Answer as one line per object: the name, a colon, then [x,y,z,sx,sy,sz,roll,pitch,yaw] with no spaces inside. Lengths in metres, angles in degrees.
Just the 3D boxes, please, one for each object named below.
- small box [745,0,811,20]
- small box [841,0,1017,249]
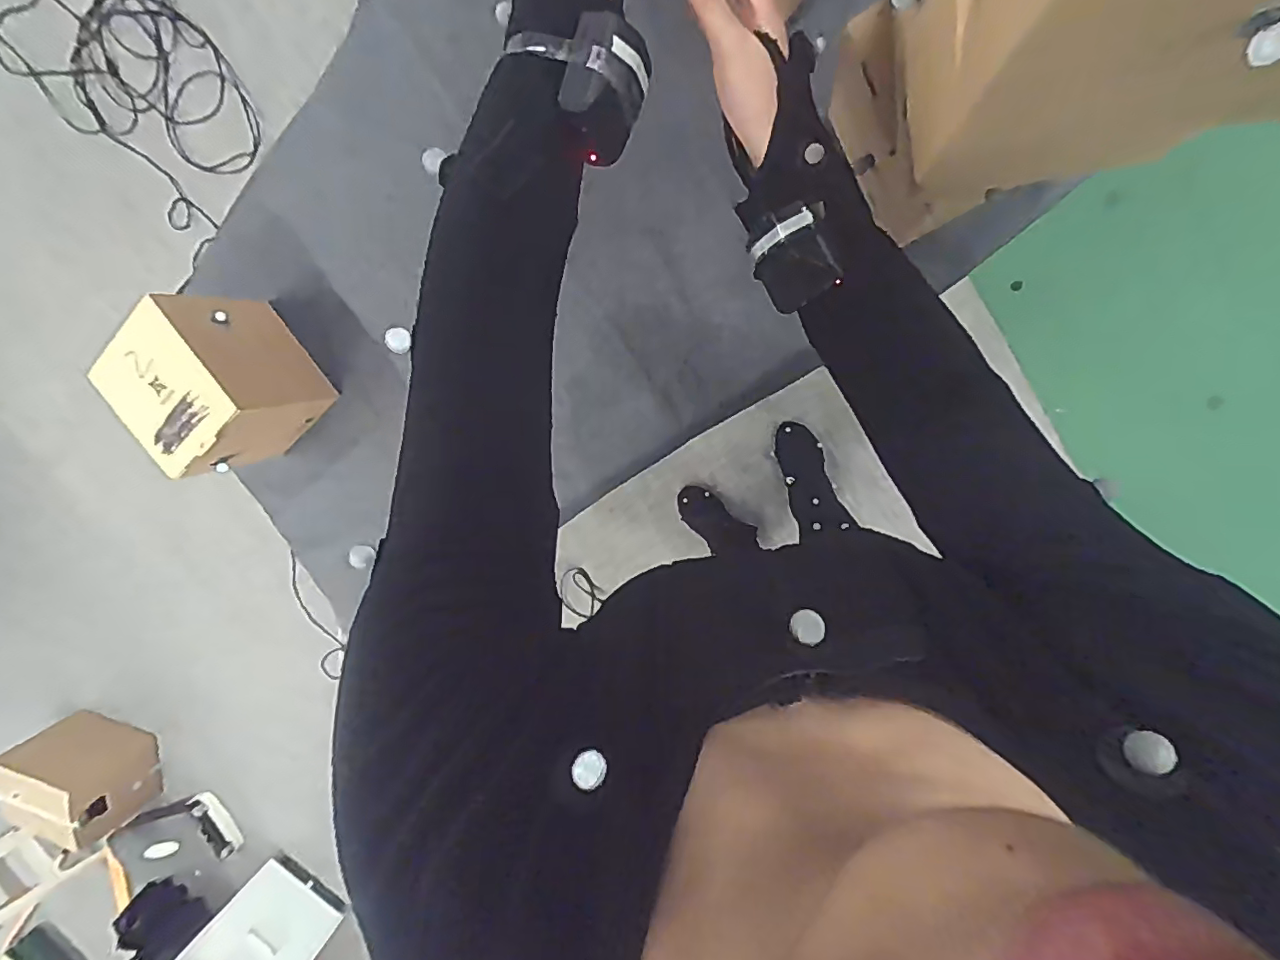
small box: [0.115,-0.562,0.471,0.179,0.176,0.168,34,112,0]
small box: [0.295,-0.334,0.484,0.179,0.176,0.168,-26,94,20]
